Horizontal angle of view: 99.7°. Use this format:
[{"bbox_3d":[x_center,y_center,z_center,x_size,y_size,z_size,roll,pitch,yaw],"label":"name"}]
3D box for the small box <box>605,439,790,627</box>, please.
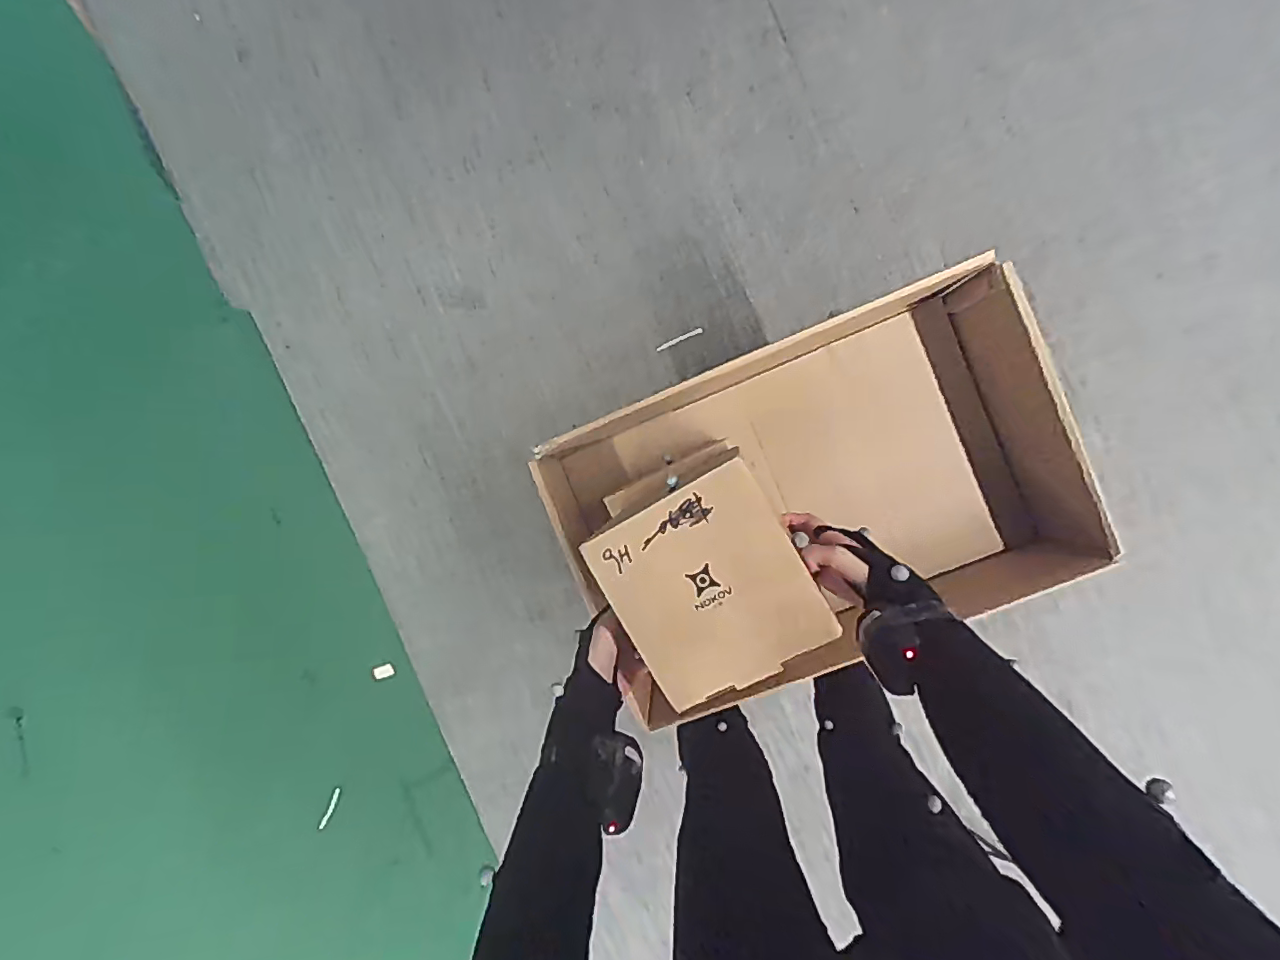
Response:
[{"bbox_3d":[0.072,0.060,0.709,0.168,0.176,0.179,-26,92,7],"label":"small box"}]
